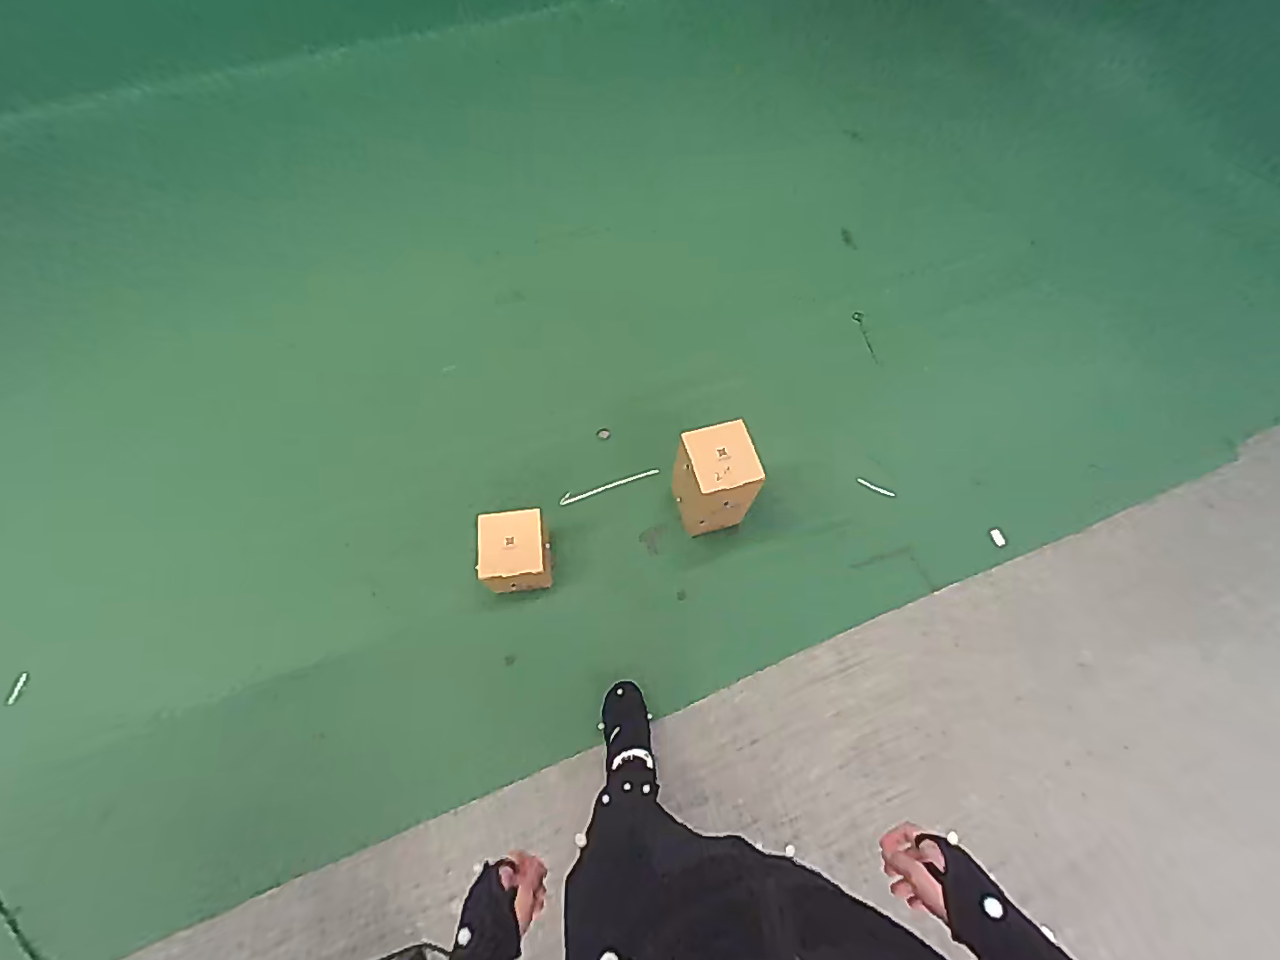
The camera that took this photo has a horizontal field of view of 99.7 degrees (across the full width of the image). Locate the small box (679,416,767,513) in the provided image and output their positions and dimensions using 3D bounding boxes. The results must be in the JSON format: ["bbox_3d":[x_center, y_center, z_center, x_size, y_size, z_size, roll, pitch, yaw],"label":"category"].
[{"bbox_3d":[0.207,-0.036,1.404,0.168,0.176,0.179,-14,68,-7],"label":"small box"}]

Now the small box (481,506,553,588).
[{"bbox_3d":[-0.332,0.186,1.478,0.168,0.176,0.179,-6,68,-4],"label":"small box"}]
